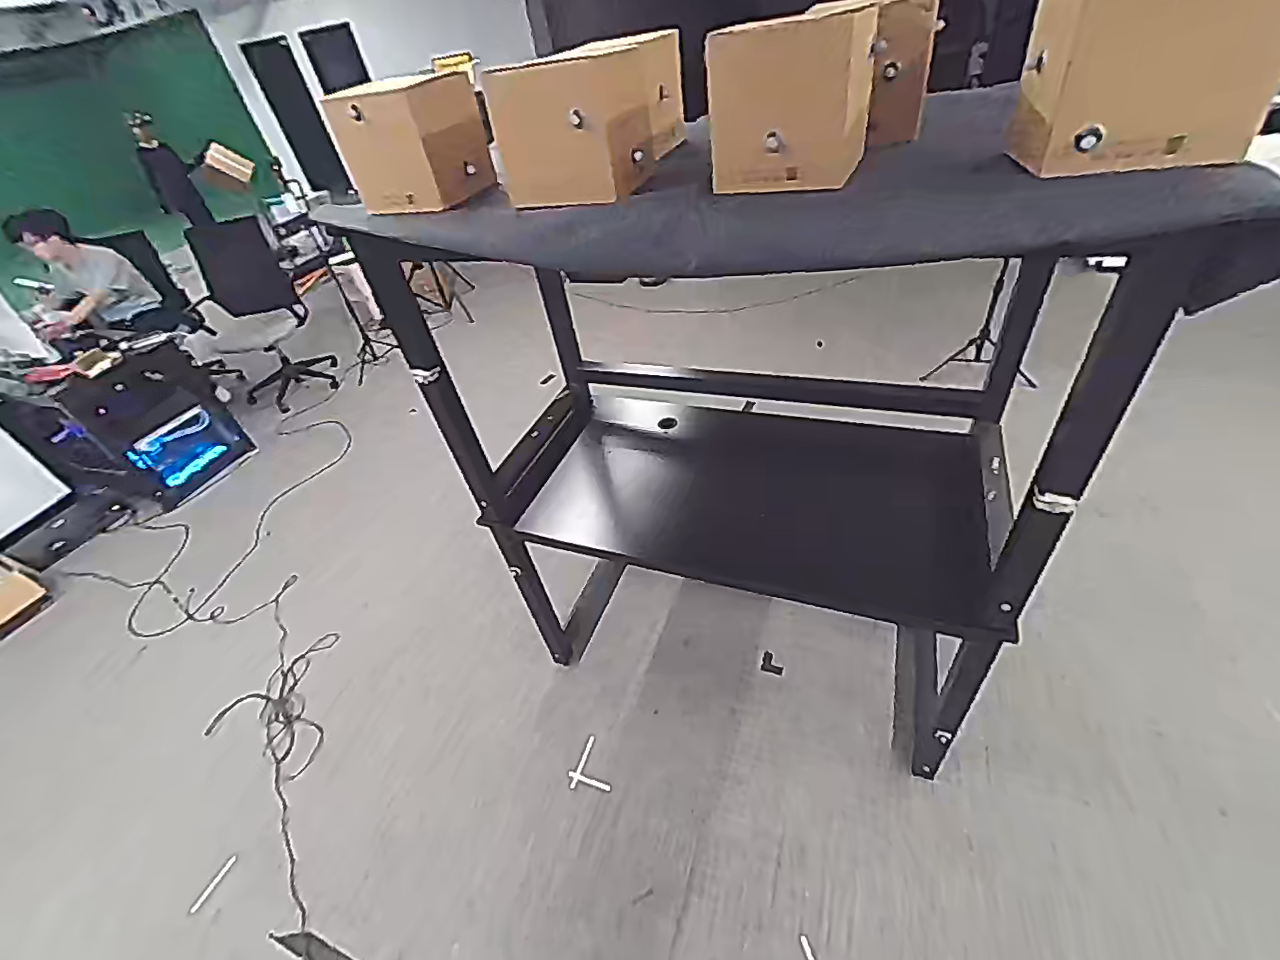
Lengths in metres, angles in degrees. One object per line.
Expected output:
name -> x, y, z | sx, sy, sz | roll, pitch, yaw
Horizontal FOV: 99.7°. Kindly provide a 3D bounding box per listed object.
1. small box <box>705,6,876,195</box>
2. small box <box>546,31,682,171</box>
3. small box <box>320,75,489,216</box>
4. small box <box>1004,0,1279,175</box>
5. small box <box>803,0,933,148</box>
small box -> 0.191, -0.478, 0.690 | 0.168, 0.176, 0.179 | 11, 44, 24
small box -> -0.035, -0.667, 0.959 | 0.179, 0.176, 0.168 | 9, 45, 22
small box -> -0.375, -0.556, 0.903 | 0.168, 0.176, 0.179 | 7, 44, 19
small box -> 0.492, -0.413, 0.539 | 0.168, 0.176, 0.179 | 5, 38, 18
small box -> 0.333, -0.610, 0.809 | 0.168, 0.176, 0.179 | 8, 45, 19
